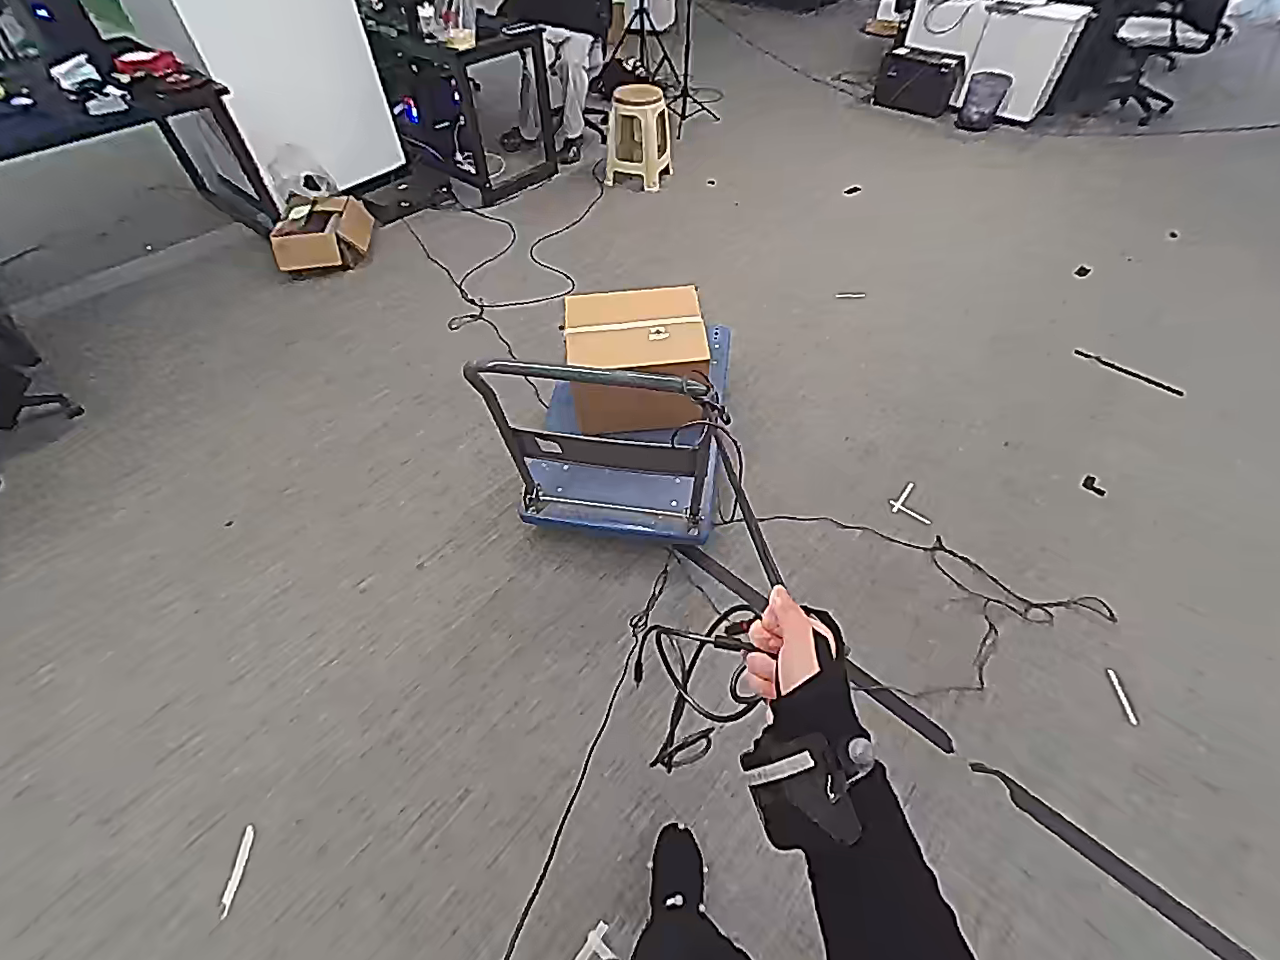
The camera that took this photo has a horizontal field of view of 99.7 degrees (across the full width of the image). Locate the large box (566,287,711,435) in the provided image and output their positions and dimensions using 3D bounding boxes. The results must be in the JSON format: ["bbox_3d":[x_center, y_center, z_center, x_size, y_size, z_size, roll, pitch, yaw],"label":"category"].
[{"bbox_3d":[-0.010,-0.366,1.698,0.408,0.320,0.320,-5,60,-2],"label":"large box"}]
